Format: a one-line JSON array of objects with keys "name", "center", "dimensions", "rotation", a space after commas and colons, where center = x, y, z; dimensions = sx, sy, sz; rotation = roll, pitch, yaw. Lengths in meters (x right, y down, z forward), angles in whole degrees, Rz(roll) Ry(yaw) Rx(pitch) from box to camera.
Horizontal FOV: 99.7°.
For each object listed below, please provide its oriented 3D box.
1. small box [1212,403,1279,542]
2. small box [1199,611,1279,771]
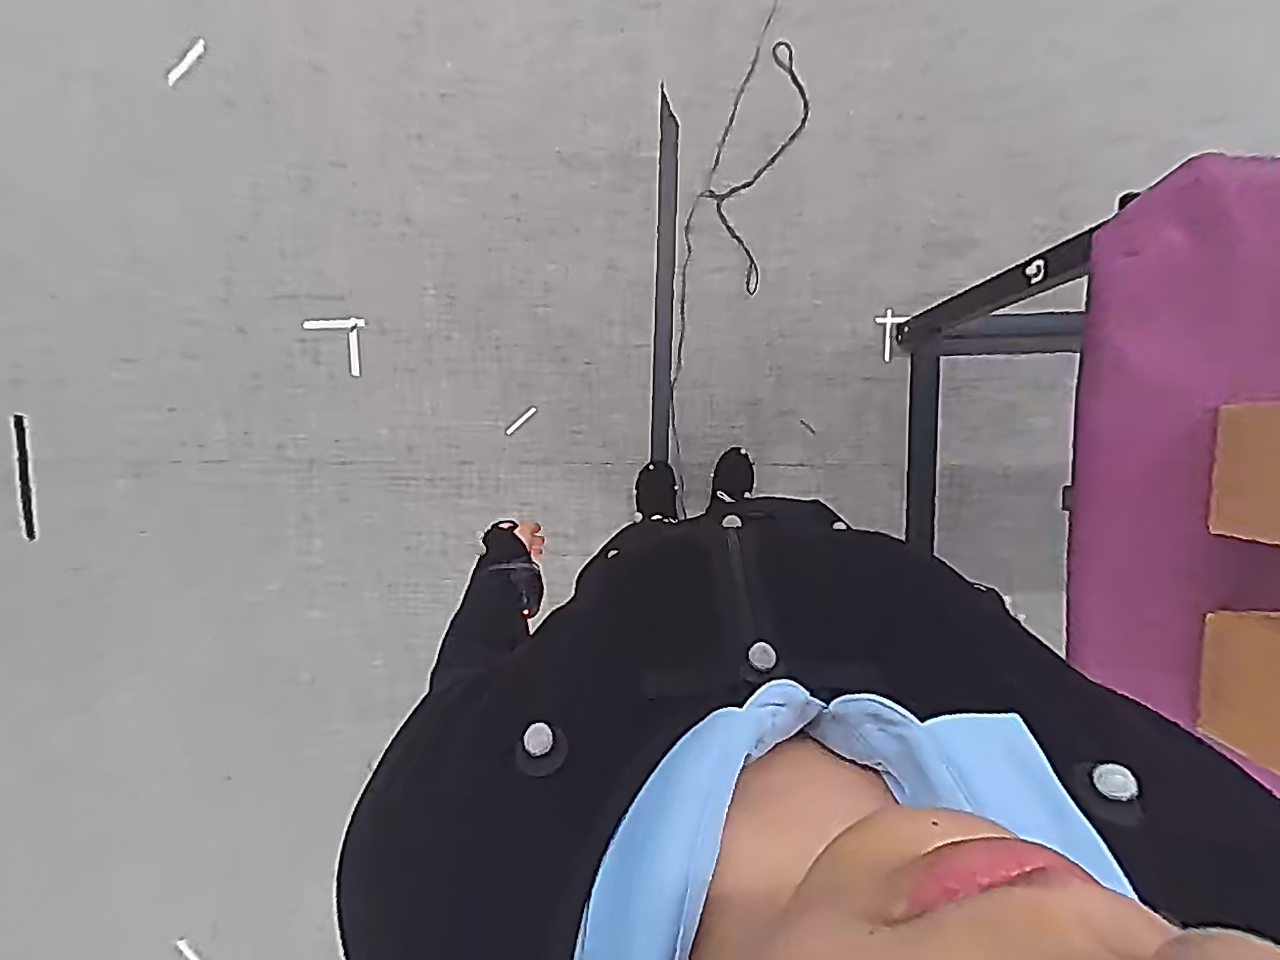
[{"name": "small box", "center": [0.864, -0.007, 0.656], "dimensions": [0.168, 0.176, 0.179], "rotation": [1, 95, 2]}, {"name": "small box", "center": [0.870, 0.278, 0.680], "dimensions": [0.168, 0.176, 0.179], "rotation": [1, 94, 2]}]
